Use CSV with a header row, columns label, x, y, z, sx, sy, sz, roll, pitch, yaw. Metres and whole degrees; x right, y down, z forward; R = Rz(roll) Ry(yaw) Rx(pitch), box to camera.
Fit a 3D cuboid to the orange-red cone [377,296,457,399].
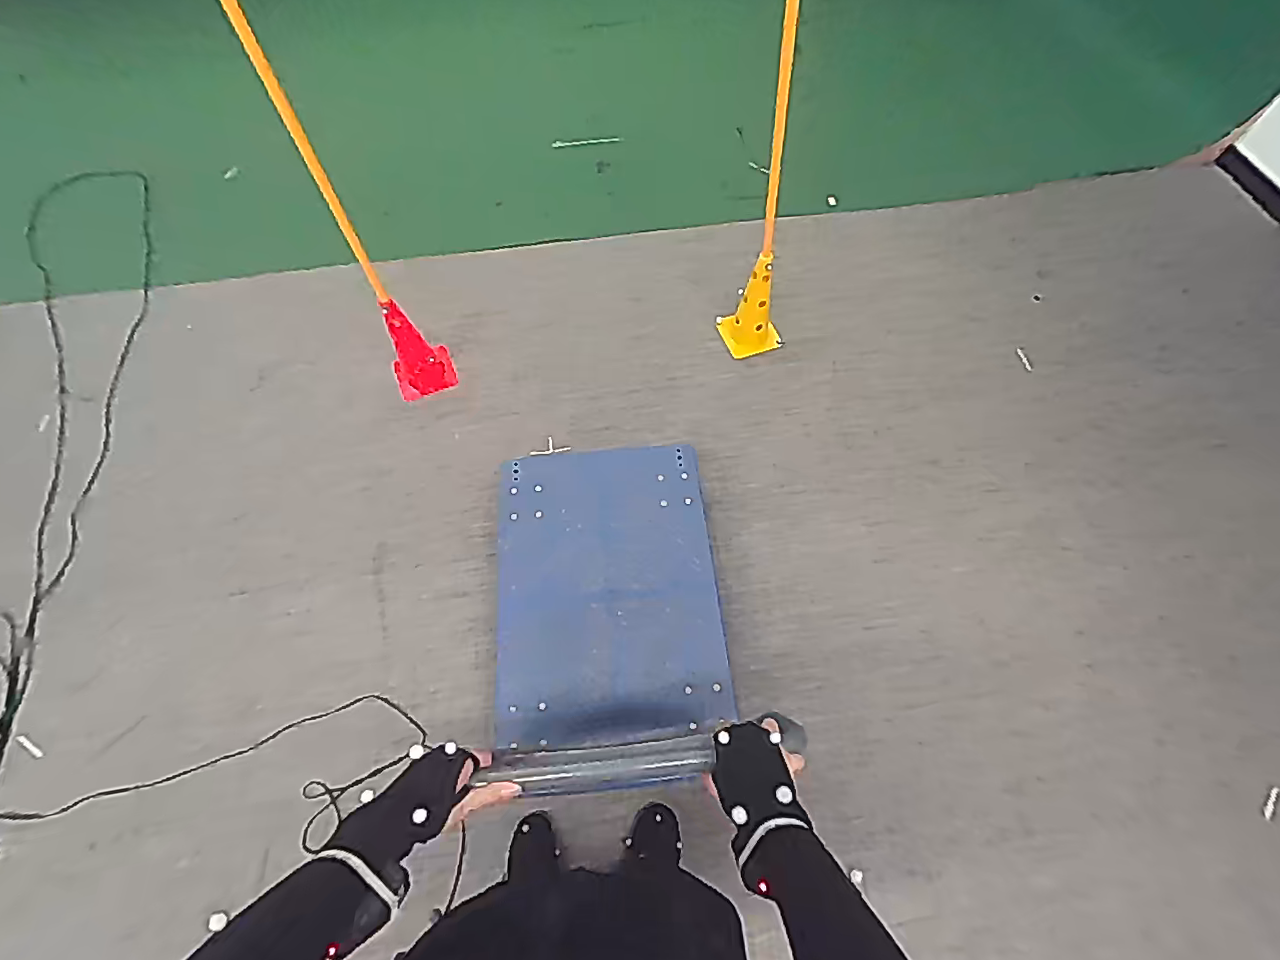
label,x,y,z,sx,sy,sz,roll,pitch,yaw
orange-red cone,-0.772,-0.462,1.783,0.199,0.360,0.198,-22,65,-9
